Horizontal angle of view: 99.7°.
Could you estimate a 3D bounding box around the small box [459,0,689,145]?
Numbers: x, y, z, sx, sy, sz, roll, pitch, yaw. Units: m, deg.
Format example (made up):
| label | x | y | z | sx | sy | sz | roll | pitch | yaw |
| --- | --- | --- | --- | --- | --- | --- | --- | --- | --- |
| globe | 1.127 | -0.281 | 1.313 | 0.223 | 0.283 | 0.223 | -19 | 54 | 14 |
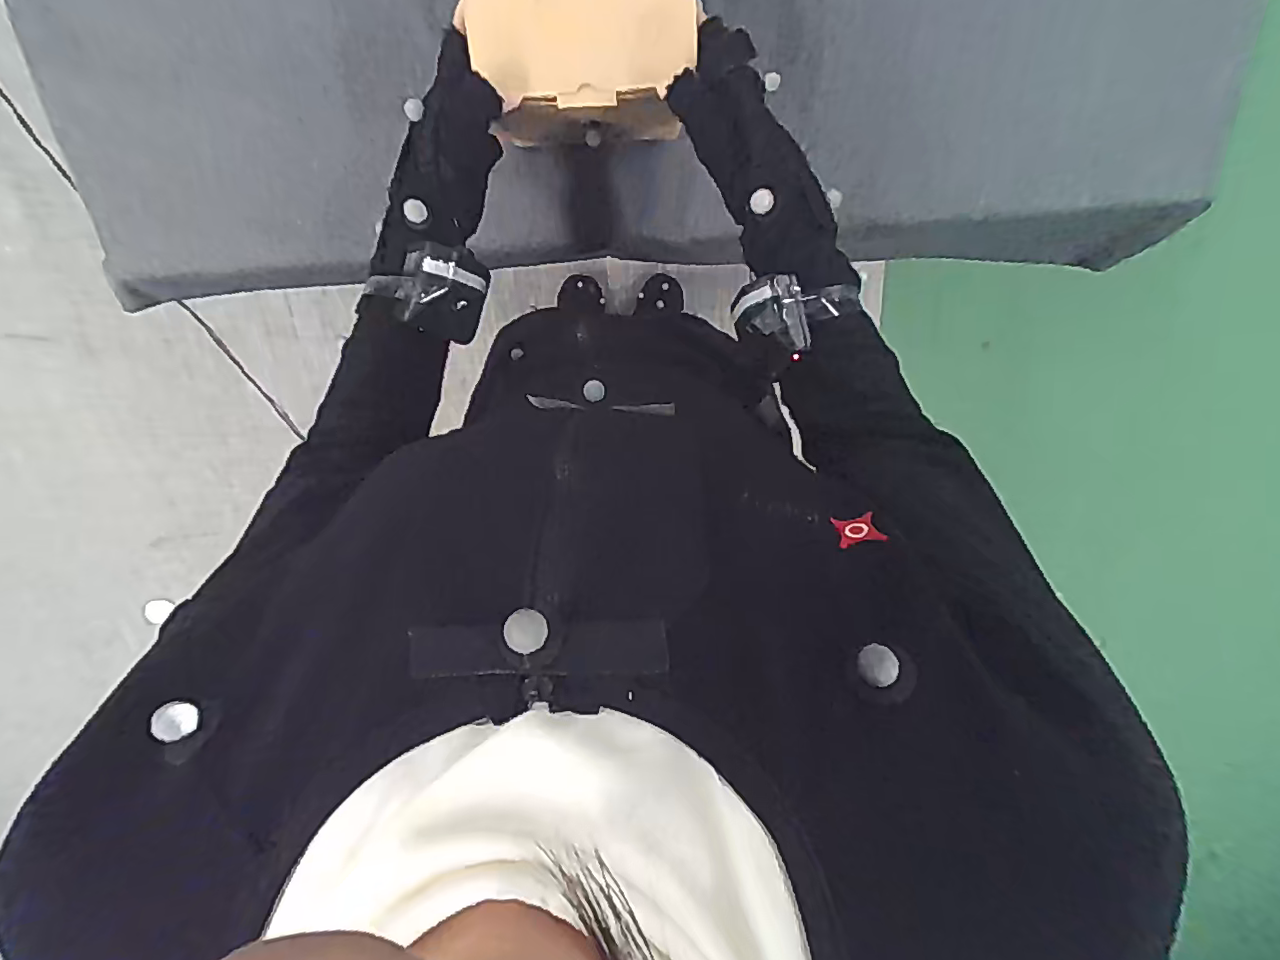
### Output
| label | x | y | z | sx | sy | sz | roll | pitch | yaw |
| --- | --- | --- | --- | --- | --- | --- | --- | --- | --- |
| small box | -0.049 | -0.390 | 0.447 | 0.168 | 0.176 | 0.179 | -4 | 113 | 0 |
